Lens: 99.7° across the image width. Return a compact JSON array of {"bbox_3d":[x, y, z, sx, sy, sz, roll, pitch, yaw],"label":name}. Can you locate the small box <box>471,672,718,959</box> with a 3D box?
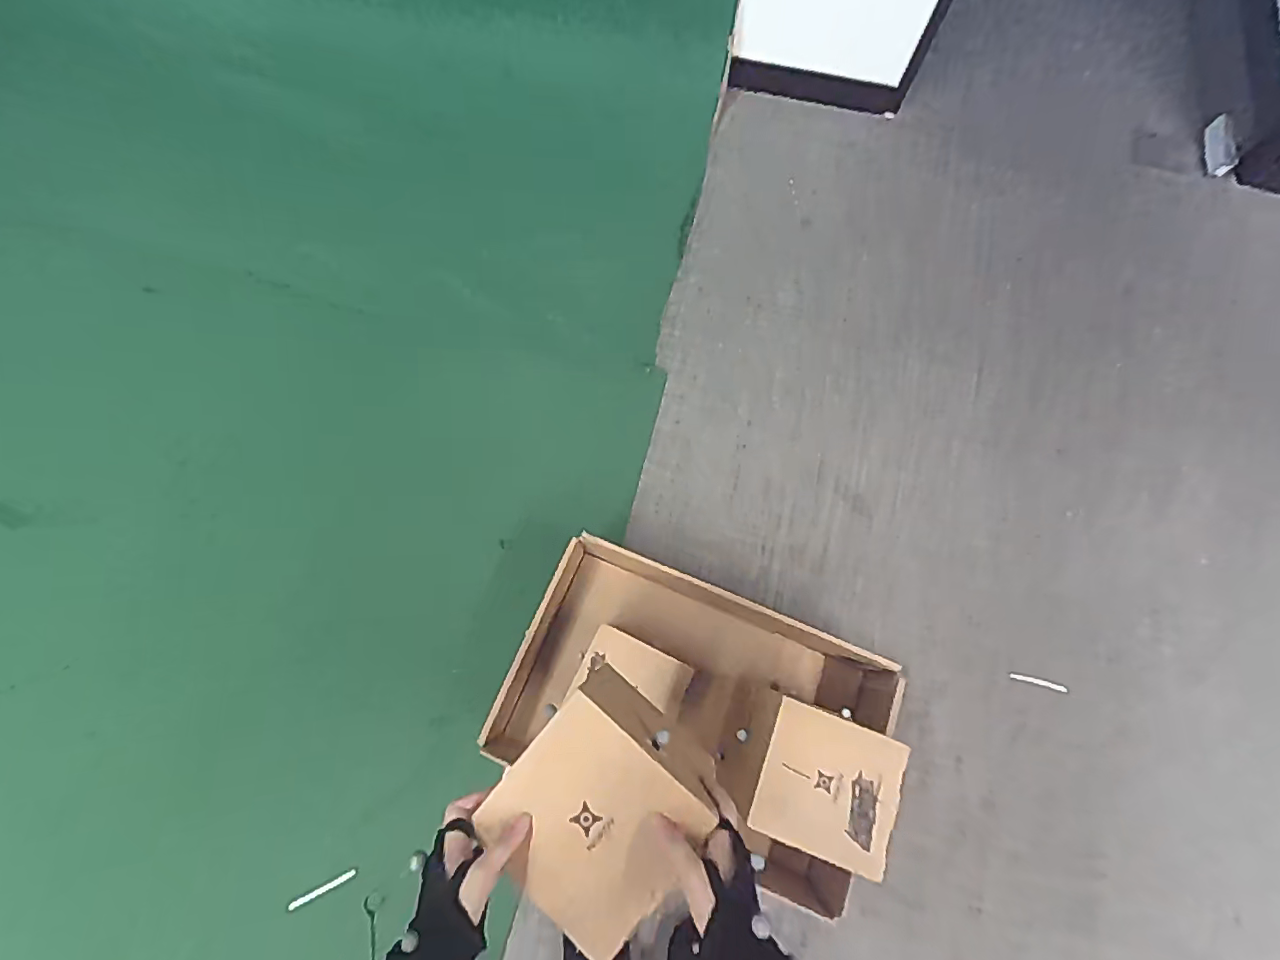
[{"bbox_3d":[-0.039,0.327,0.578,0.179,0.176,0.168,39,85,10],"label":"small box"}]

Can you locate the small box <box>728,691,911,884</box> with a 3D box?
[{"bbox_3d":[0.239,0.409,0.757,0.179,0.176,0.168,20,74,6],"label":"small box"}]
